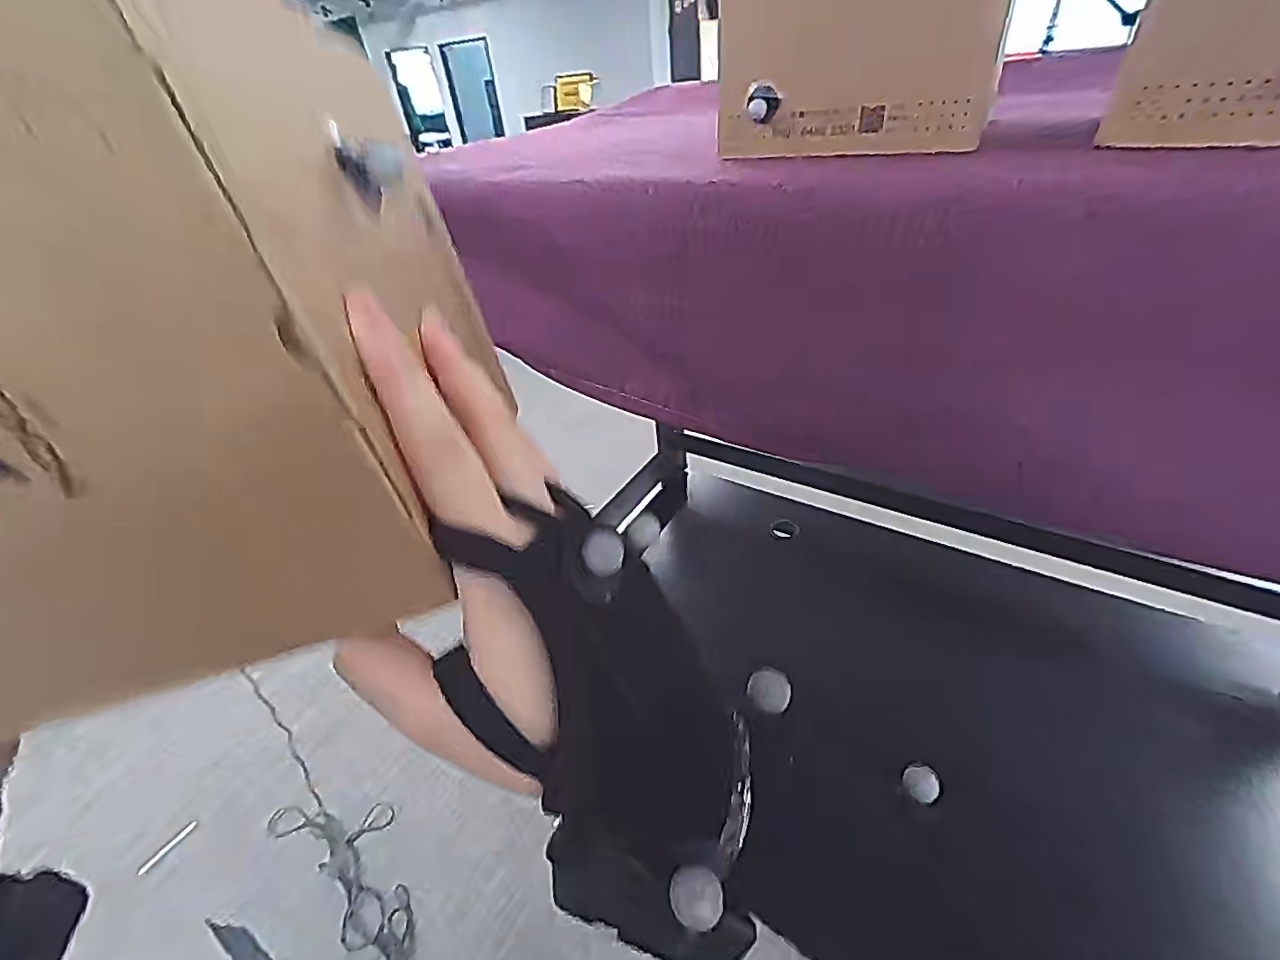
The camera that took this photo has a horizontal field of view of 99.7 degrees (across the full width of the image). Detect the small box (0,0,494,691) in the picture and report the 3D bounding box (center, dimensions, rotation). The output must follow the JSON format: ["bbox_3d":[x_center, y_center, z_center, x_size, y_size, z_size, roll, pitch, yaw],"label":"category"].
[{"bbox_3d":[-0.163,-0.059,0.190,0.179,0.168,0.176,-15,28,2],"label":"small box"}]

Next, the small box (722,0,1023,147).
[{"bbox_3d":[0.161,-0.327,0.359,0.168,0.176,0.179,15,41,26],"label":"small box"}]
